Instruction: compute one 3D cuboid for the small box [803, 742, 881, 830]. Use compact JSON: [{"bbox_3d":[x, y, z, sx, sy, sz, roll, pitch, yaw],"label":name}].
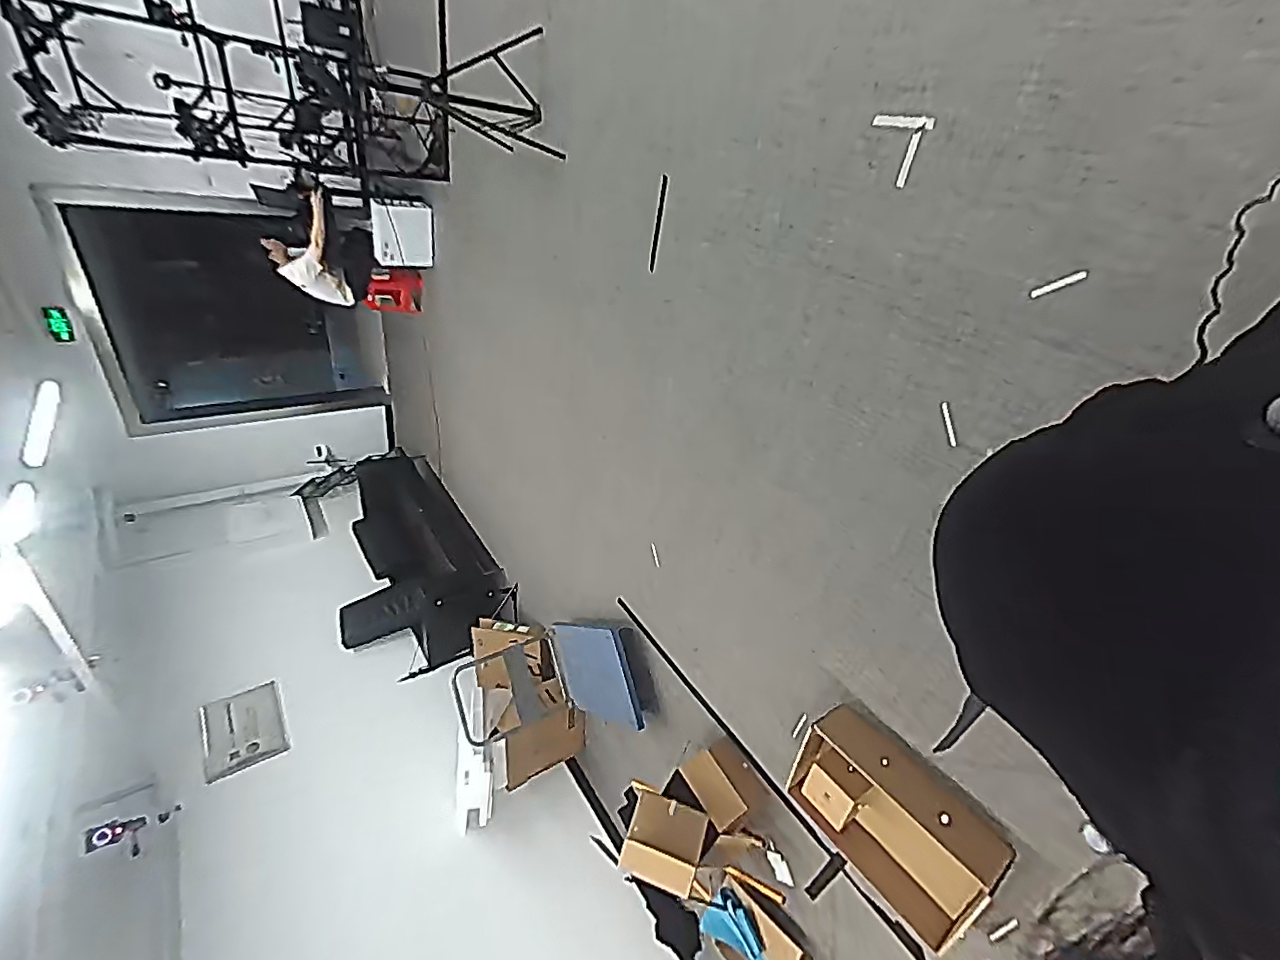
[{"bbox_3d":[0.703,1.050,1.871,0.168,0.176,0.179,40,133,42],"label":"small box"}]
